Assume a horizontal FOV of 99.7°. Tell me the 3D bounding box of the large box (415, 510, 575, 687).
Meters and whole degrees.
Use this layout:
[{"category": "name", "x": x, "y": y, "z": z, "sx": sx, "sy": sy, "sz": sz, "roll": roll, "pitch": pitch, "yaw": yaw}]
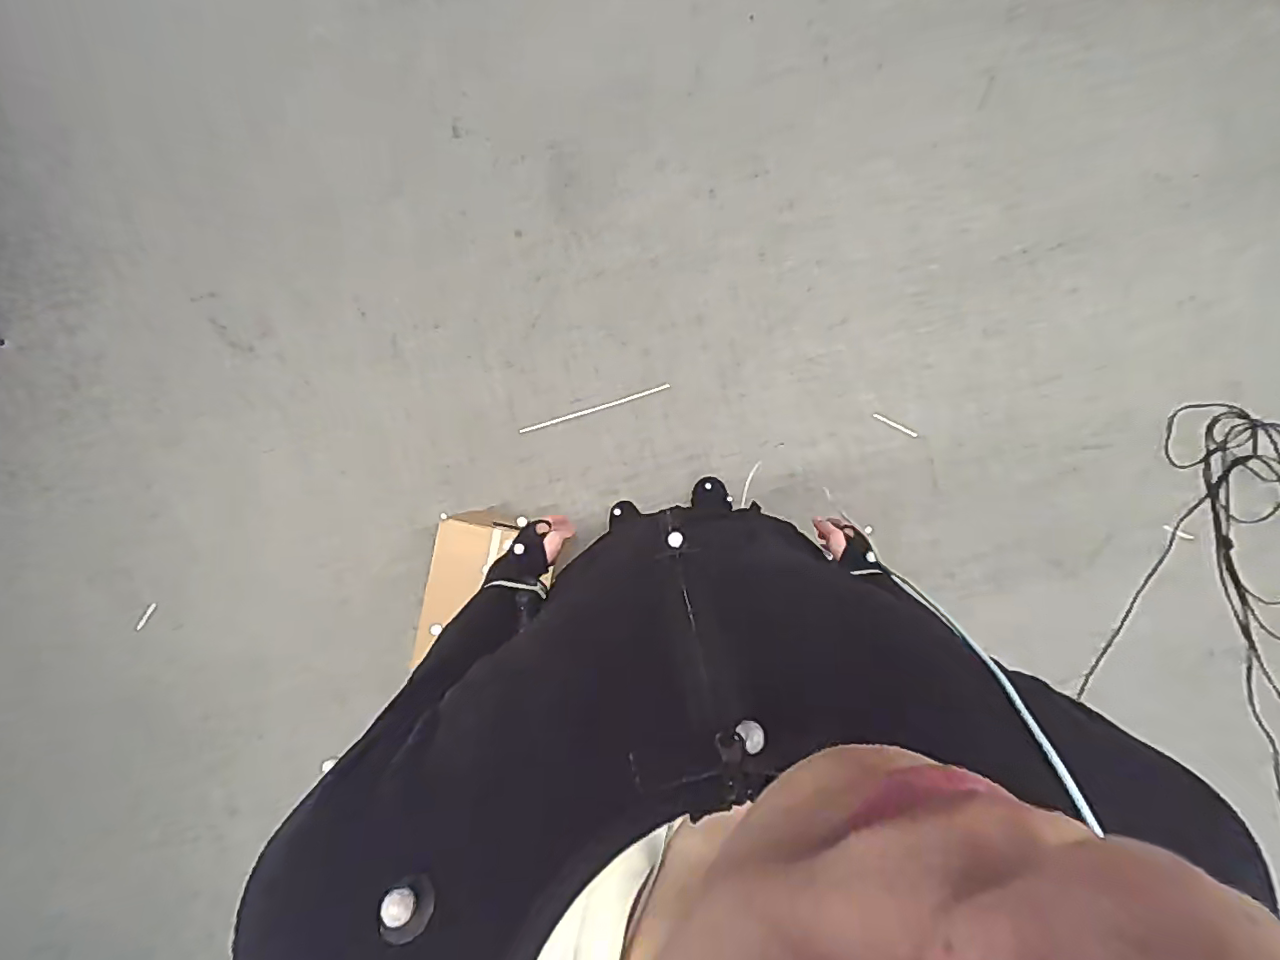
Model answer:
[{"category": "large box", "x": -0.390, "y": 0.311, "z": 1.531, "sx": 0.320, "sy": 0.320, "sz": 0.408, "roll": 11, "pitch": 90, "yaw": 2}]
